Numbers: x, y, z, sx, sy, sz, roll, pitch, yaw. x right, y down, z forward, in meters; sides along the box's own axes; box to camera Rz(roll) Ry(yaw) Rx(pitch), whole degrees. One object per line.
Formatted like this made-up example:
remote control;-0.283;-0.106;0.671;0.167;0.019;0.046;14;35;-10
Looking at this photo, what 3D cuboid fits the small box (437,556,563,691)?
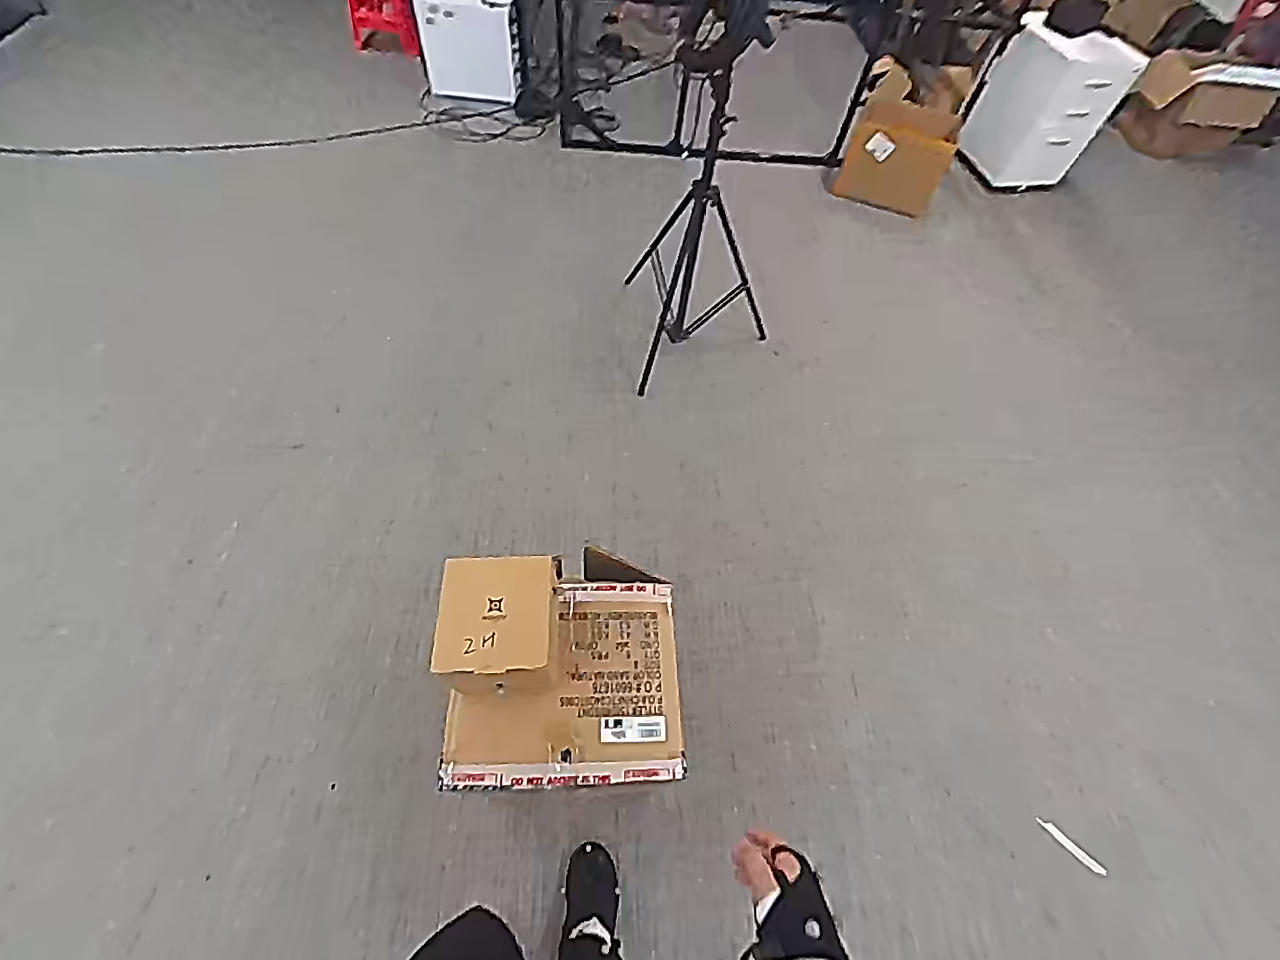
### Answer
small box;-0.216;0.237;0.882;0.168;0.176;0.179;-2;60;-4
